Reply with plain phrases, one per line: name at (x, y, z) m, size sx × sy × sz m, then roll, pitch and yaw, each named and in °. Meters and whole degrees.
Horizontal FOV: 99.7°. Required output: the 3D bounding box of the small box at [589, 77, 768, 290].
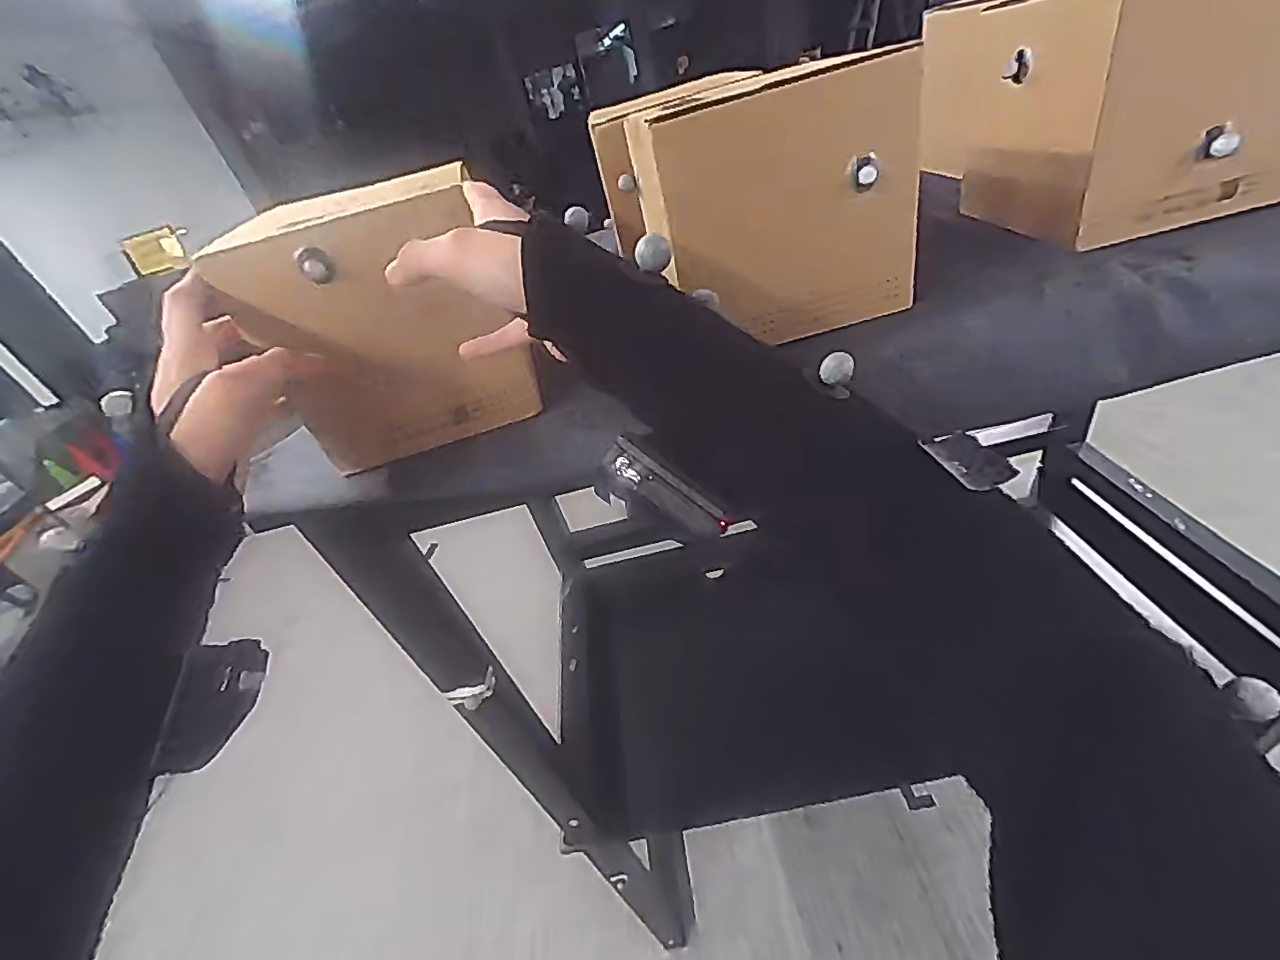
small box at (0.046, -0.347, 0.635) m, size 0.179 × 0.176 × 0.168 m, roll -14°, pitch 37°, yaw 5°

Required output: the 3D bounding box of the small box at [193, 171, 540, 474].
small box at (-0.189, -0.131, 0.437) m, size 0.168 × 0.176 × 0.179 m, roll -19°, pitch 35°, yaw -3°

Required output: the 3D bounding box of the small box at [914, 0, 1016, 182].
small box at (0.433, -0.446, 0.605) m, size 0.168 × 0.176 × 0.179 m, roll -15°, pitch 37°, yaw 2°

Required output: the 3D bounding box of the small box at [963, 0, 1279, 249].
small box at (0.388, -0.303, 0.434) m, size 0.168 × 0.176 × 0.179 m, roll -13°, pitch 35°, yaw 7°
